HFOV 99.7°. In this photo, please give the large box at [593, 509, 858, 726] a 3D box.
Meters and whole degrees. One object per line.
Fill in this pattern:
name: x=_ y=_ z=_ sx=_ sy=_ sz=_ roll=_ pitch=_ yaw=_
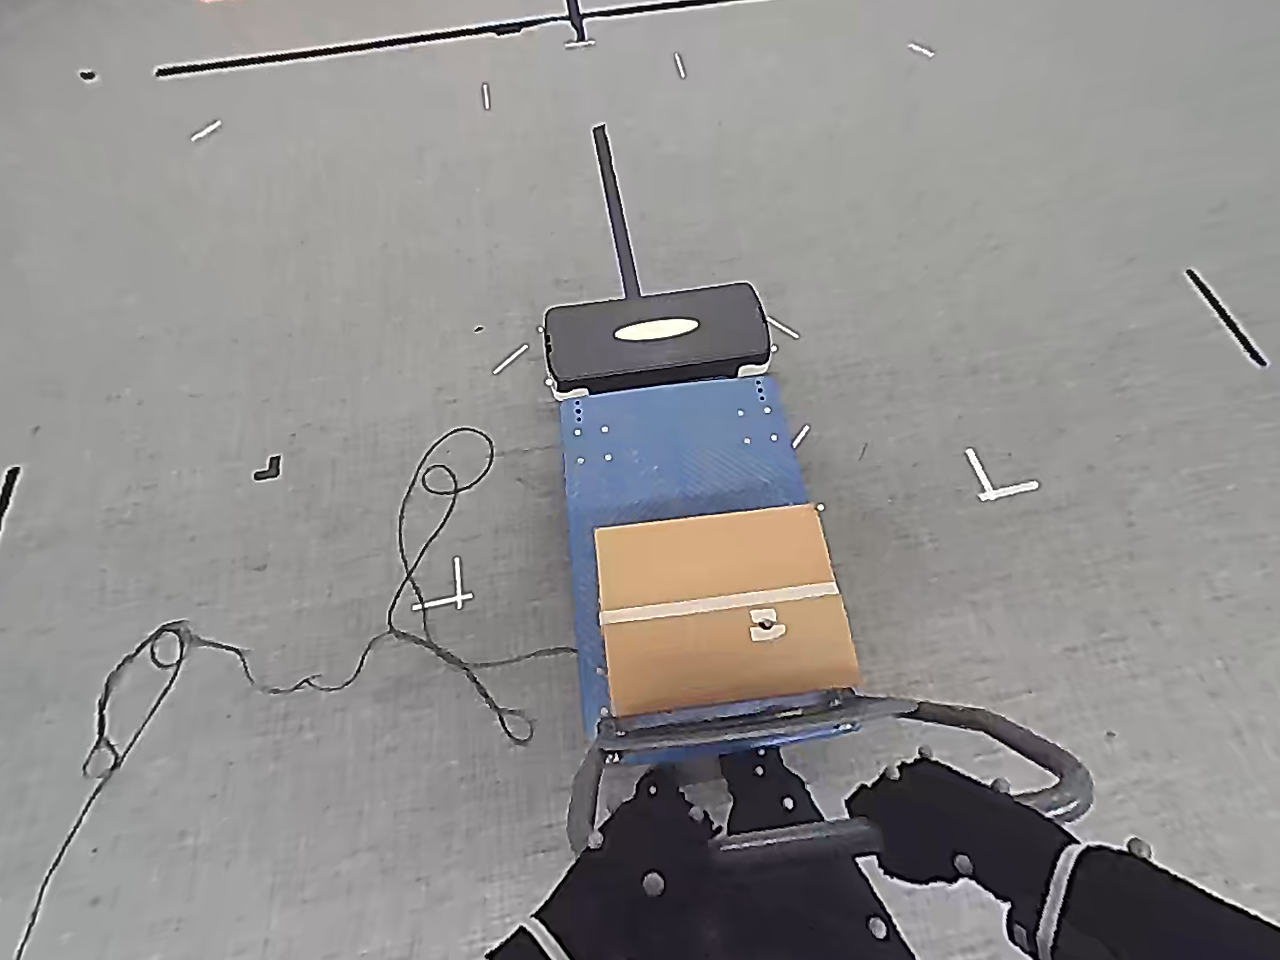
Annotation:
large box: x=0.131 y=0.275 z=1.042 sx=0.408 sy=0.320 sz=0.320 roll=-7 pitch=68 yaw=-3
